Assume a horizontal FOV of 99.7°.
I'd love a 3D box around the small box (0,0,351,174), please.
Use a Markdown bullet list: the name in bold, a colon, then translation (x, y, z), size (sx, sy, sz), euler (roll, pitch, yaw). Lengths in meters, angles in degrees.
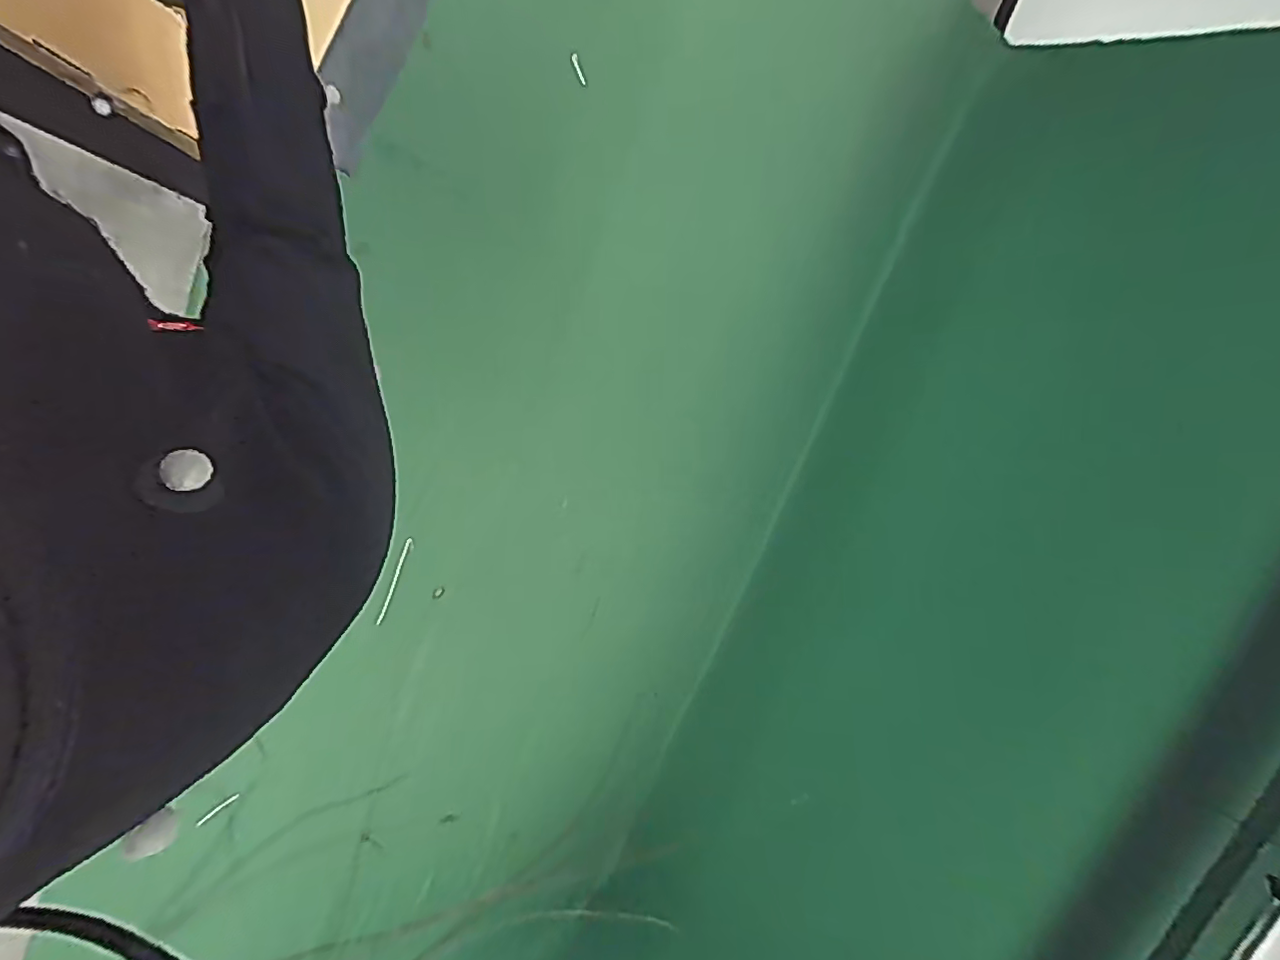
- **small box**: translation (-0.371, -0.384, 0.430), size (0.168, 0.176, 0.179), euler (24, 98, -51)
